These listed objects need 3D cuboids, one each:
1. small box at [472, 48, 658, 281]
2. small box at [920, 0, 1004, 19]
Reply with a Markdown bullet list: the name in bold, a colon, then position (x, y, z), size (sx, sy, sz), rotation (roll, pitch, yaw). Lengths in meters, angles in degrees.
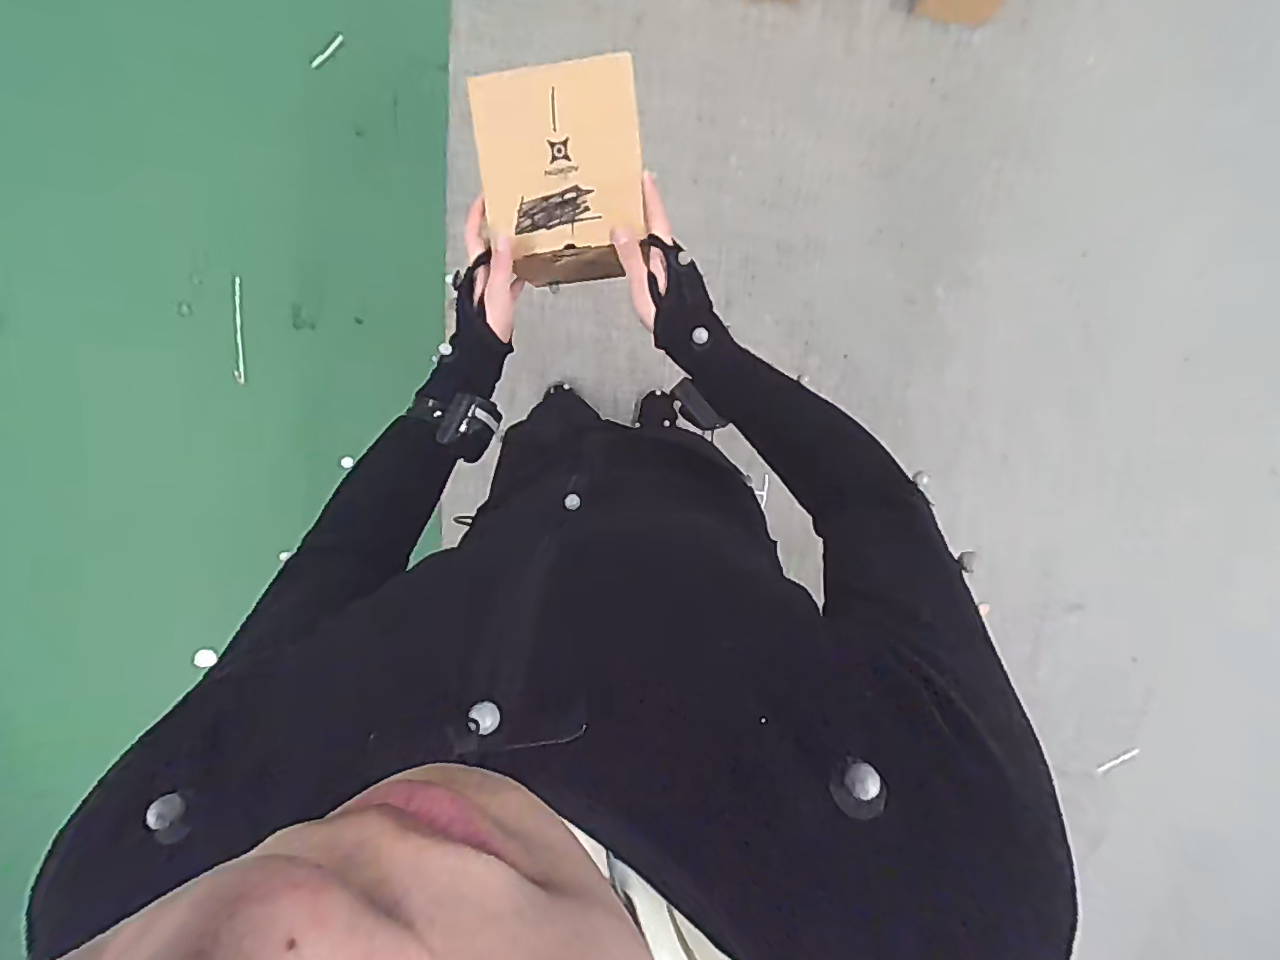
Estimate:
- **small box**: position (-0.069, -0.330, 0.607), size (0.168, 0.176, 0.179), rotation (-4, 99, 4)
- **small box**: position (0.750, -1.162, 1.190), size (0.179, 0.176, 0.168), rotation (9, 104, 3)
